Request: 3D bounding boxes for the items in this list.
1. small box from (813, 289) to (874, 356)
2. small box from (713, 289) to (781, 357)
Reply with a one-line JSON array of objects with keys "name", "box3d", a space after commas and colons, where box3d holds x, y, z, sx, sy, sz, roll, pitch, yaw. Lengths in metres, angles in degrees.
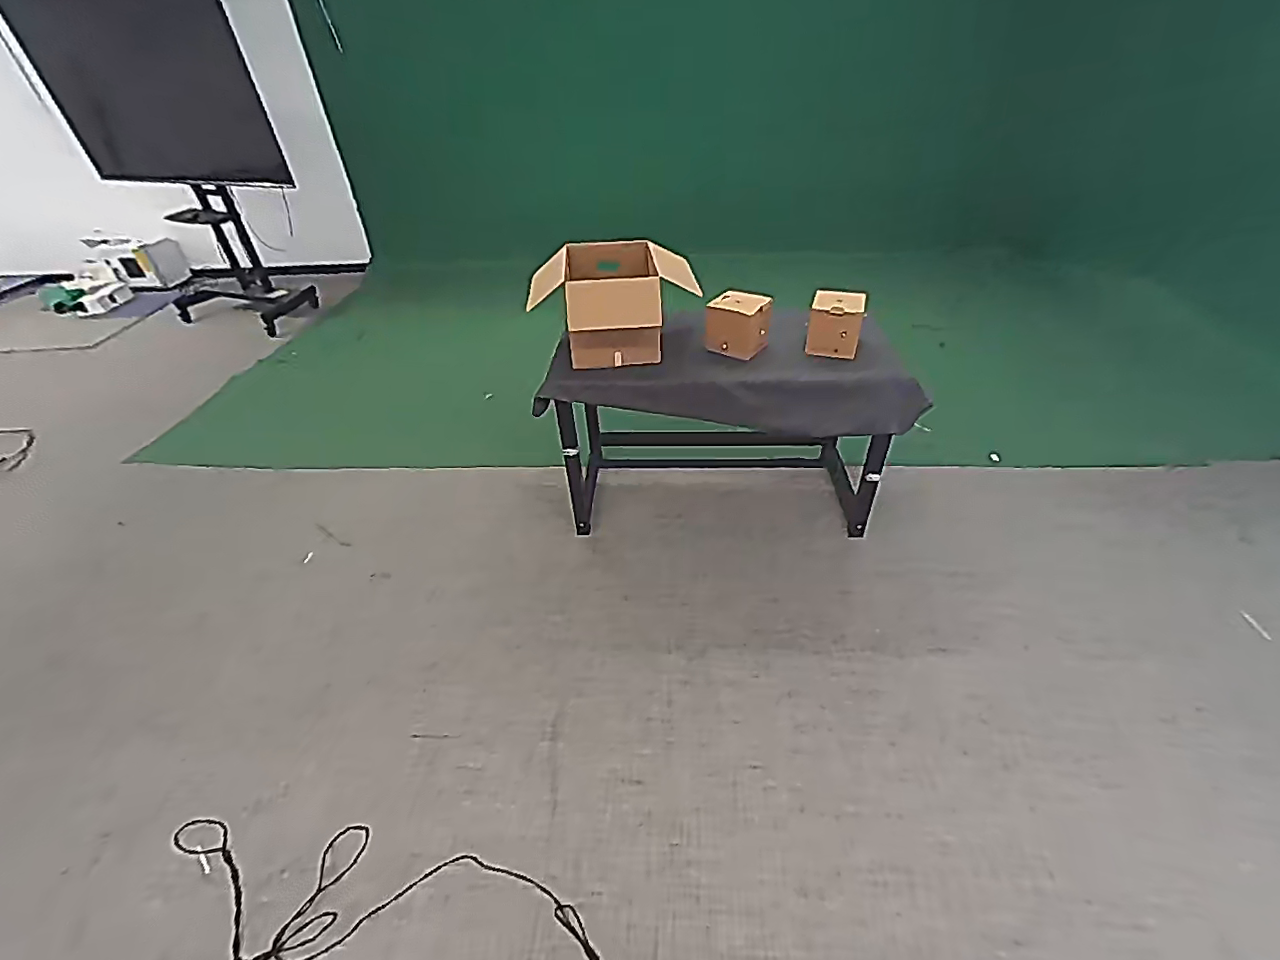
[{"name": "small box", "box3d": [0.705, -0.548, 1.879, 0.168, 0.176, 0.179, 12, 41, 17]}, {"name": "small box", "box3d": [0.376, -0.554, 1.915, 0.179, 0.176, 0.168, 24, 47, 30]}]
